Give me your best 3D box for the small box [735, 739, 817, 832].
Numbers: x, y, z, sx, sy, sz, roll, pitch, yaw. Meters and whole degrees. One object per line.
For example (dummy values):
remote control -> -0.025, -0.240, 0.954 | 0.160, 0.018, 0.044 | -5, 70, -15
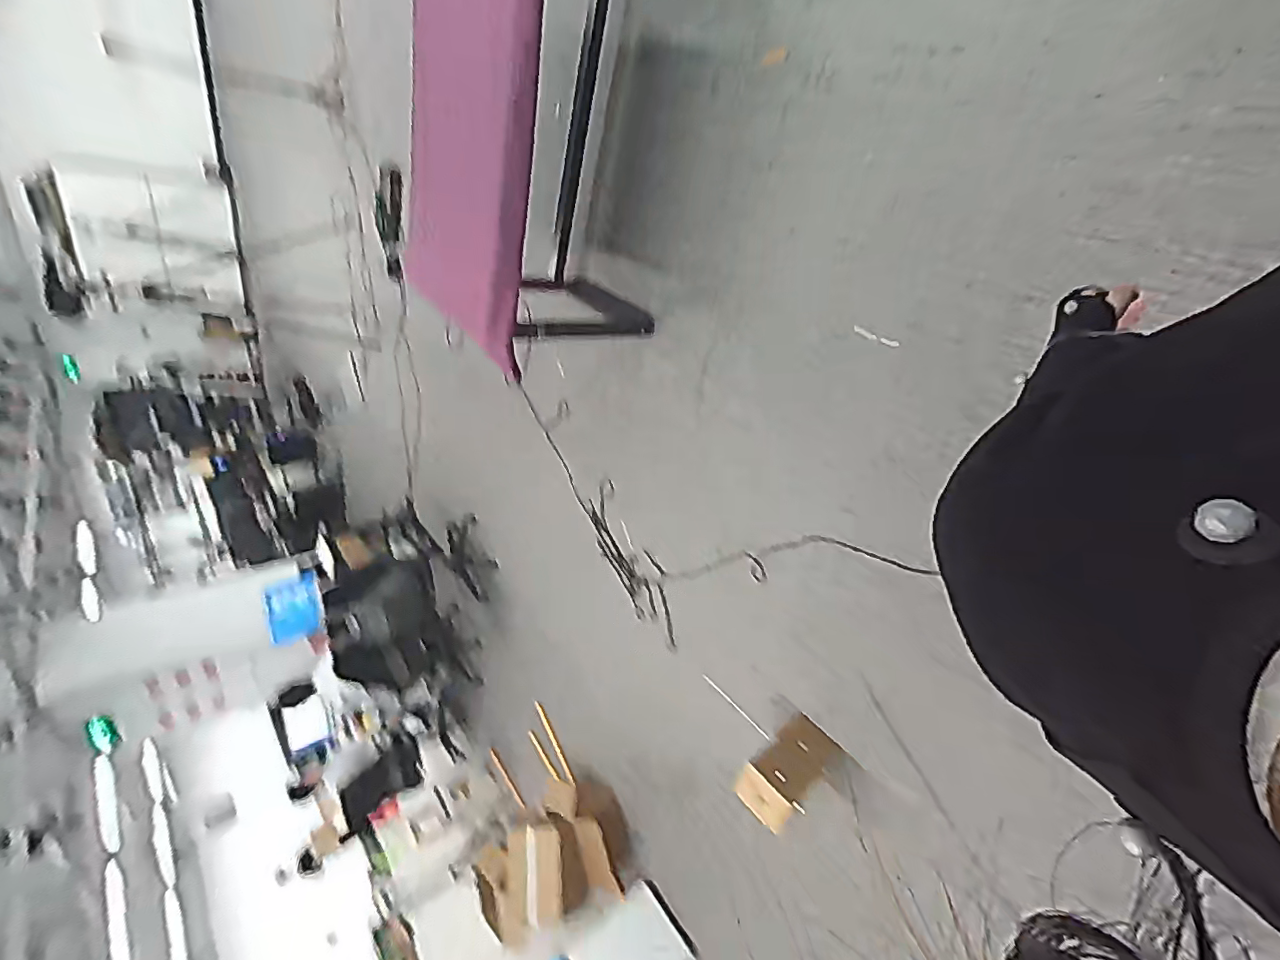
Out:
small box -> 0.451, 1.000, 1.784 | 0.179, 0.176, 0.168 | 38, 126, 36

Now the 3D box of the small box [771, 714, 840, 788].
small box -> 0.566, 0.964, 1.896 | 0.179, 0.176, 0.168 | 38, 127, 36
